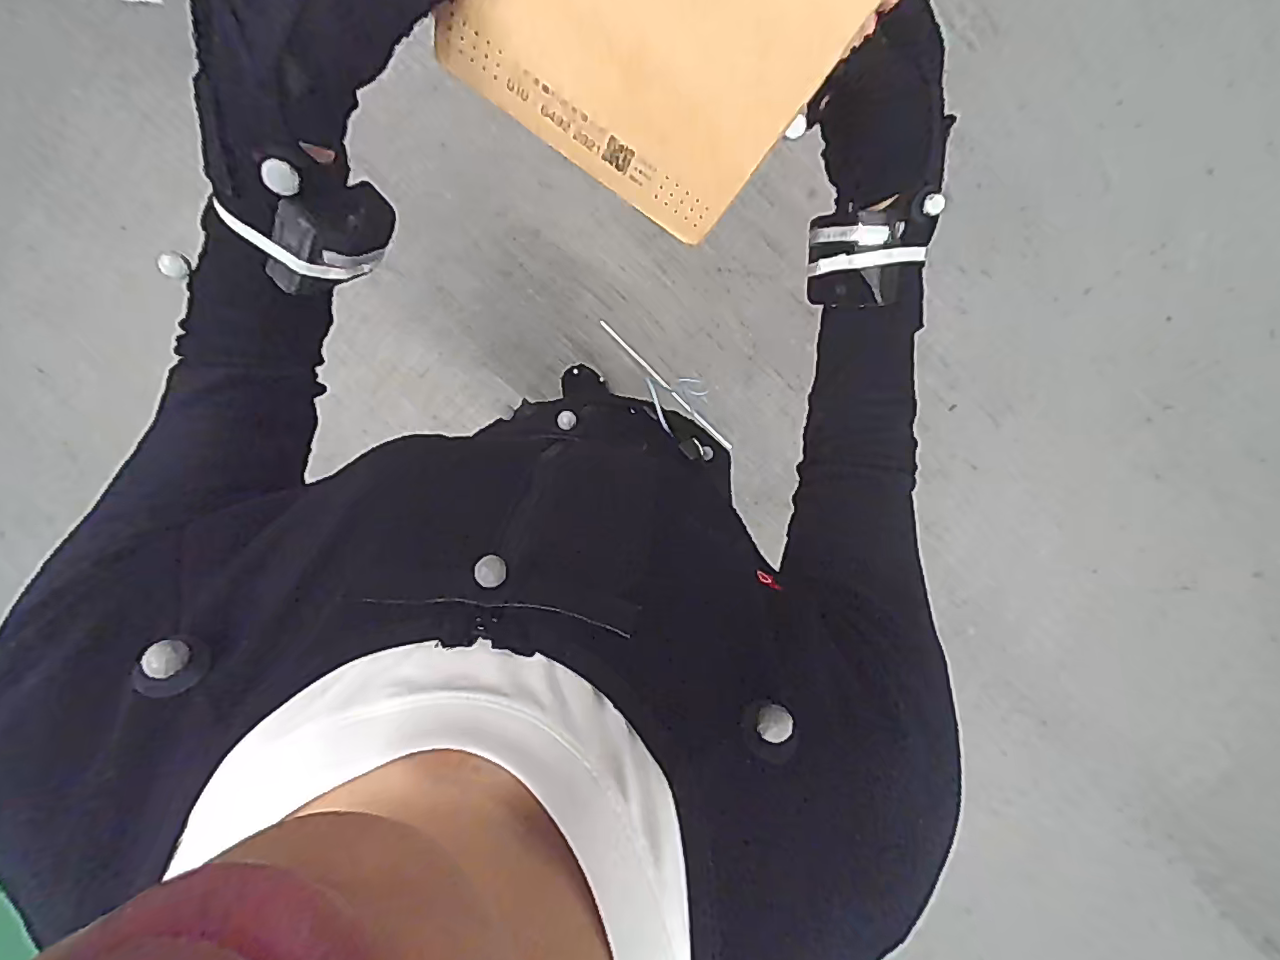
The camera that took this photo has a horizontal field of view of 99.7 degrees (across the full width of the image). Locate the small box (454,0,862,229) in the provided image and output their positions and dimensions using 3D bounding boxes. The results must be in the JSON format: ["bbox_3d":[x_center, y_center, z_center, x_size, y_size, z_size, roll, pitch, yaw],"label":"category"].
[{"bbox_3d":[0.026,-0.272,0.264,0.168,0.176,0.179,31,62,-11],"label":"small box"}]
